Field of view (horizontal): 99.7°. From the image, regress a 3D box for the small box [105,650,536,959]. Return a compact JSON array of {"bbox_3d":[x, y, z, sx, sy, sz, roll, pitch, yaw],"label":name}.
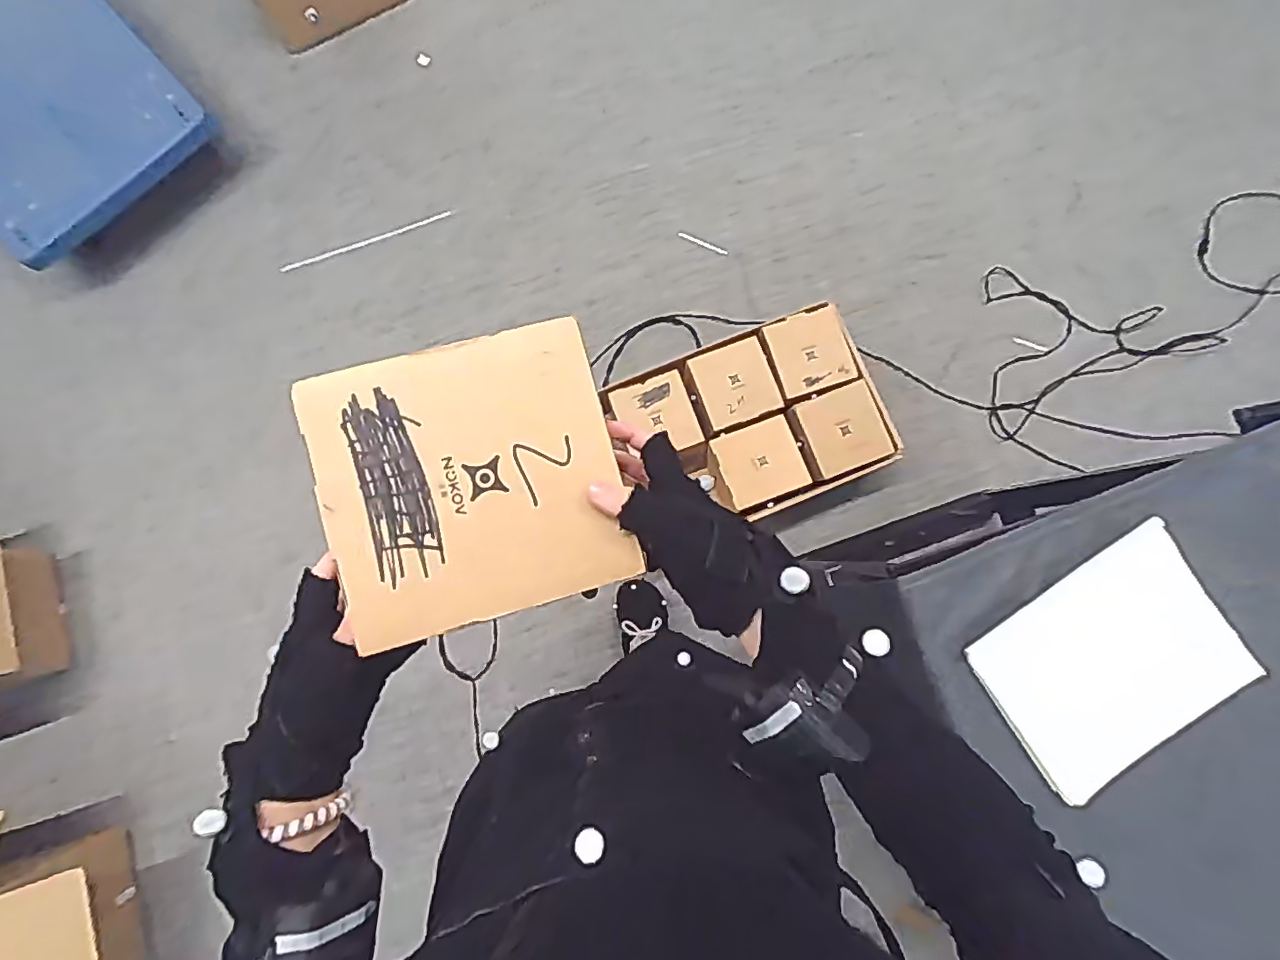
[{"bbox_3d":[-0.198,0.239,0.353,0.168,0.176,0.179,34,44,-27],"label":"small box"}]
